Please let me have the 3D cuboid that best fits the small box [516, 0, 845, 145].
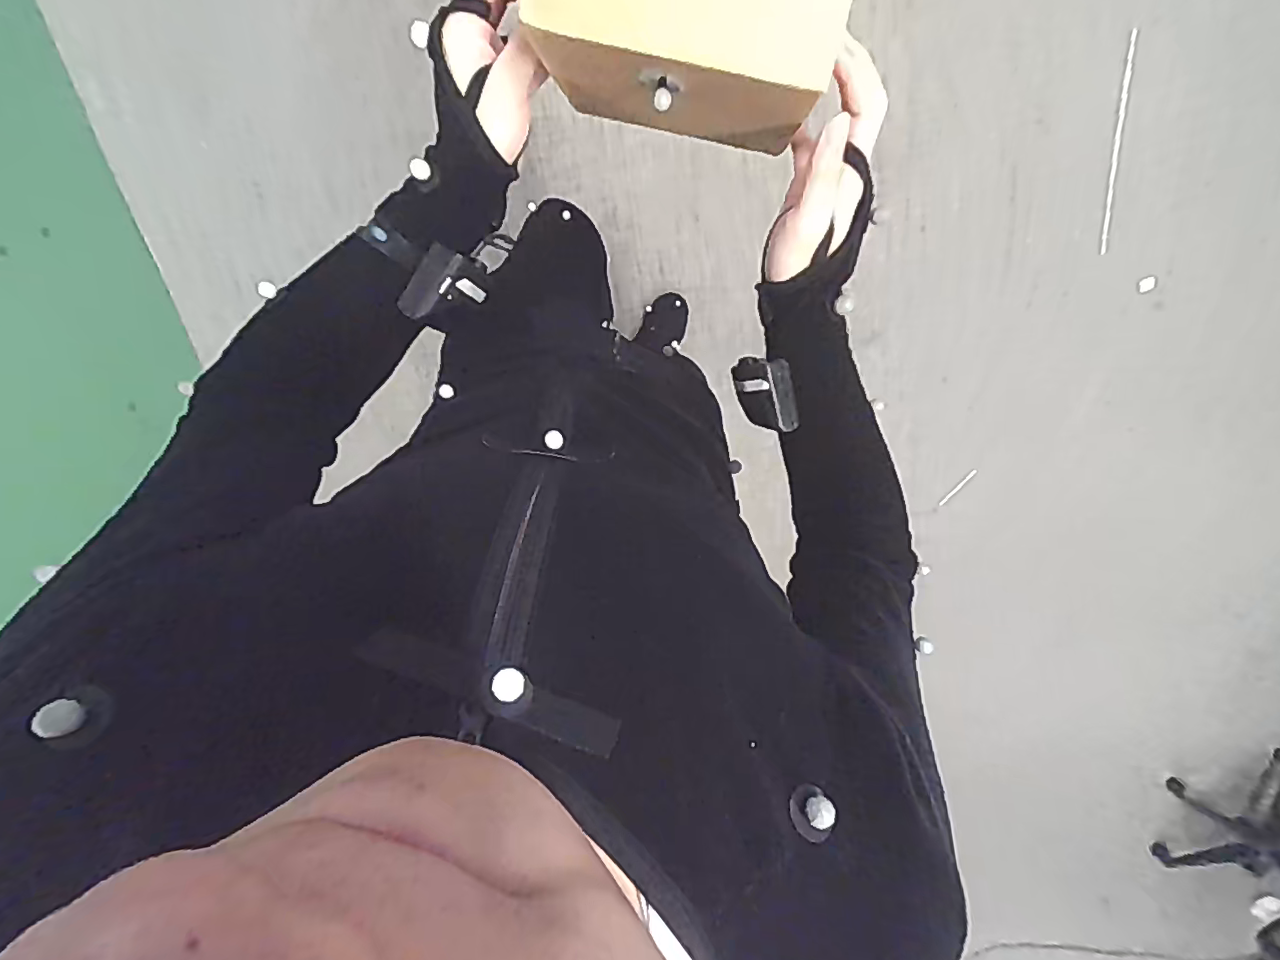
[{"bbox_3d":[0.038,-0.335,0.340,0.179,0.176,0.168,13,110,-1],"label":"small box"}]
